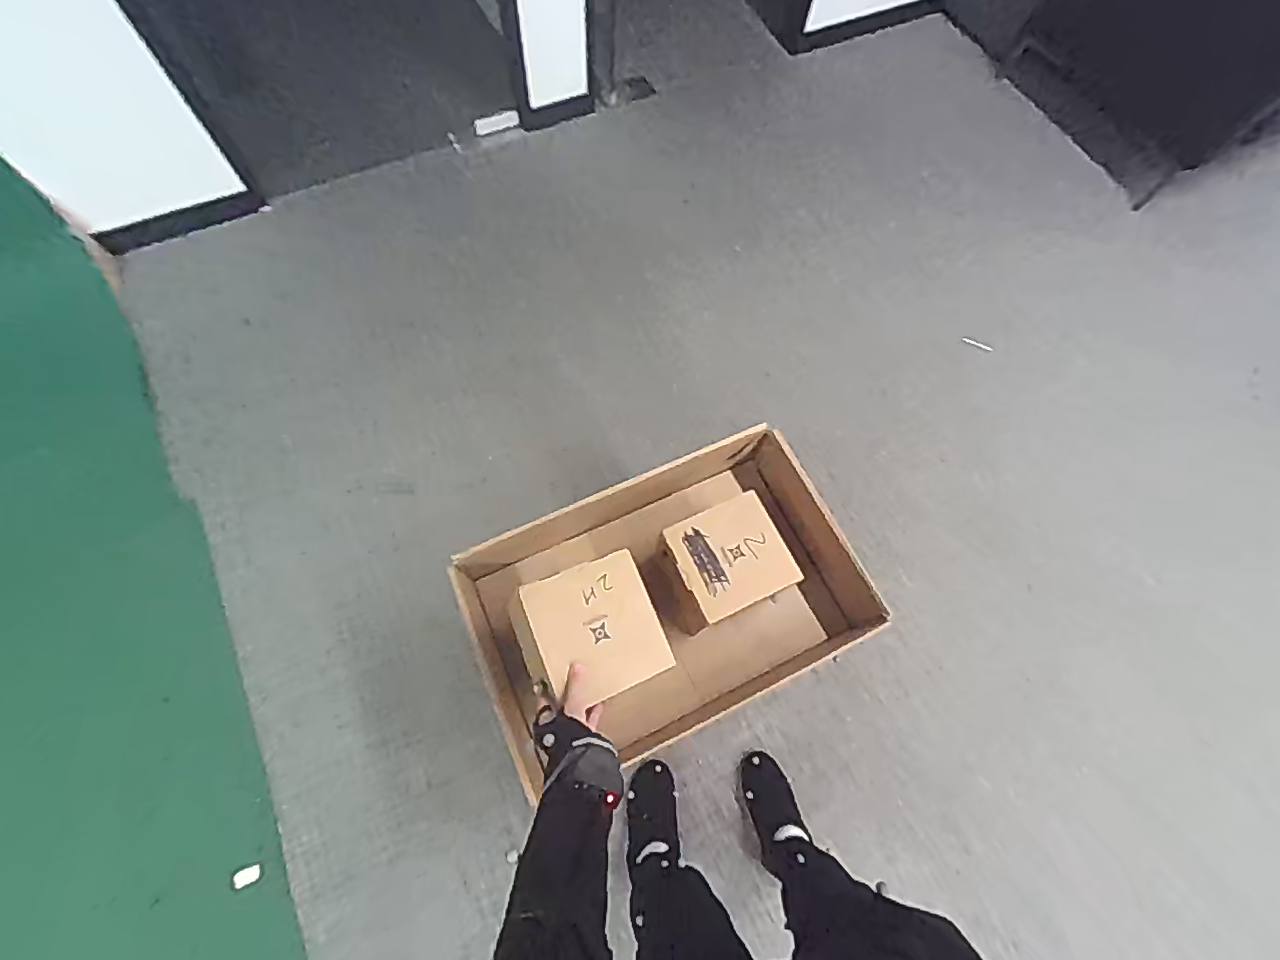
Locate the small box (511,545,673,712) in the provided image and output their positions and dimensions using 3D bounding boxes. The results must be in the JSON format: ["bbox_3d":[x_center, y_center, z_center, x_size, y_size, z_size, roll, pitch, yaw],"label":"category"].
[{"bbox_3d":[-0.080,0.216,0.785,0.168,0.176,0.179,-15,74,-24],"label":"small box"}]
